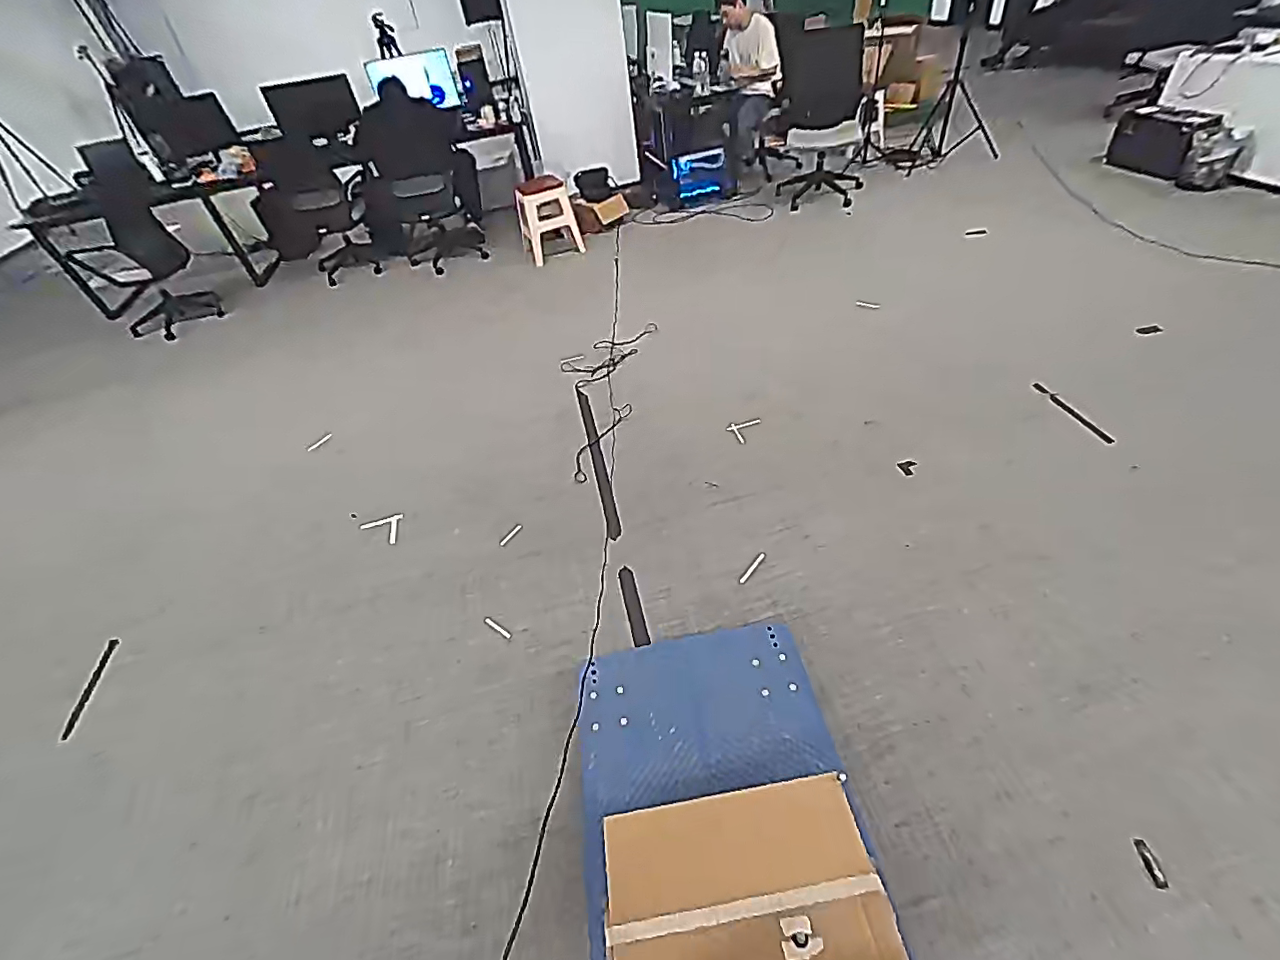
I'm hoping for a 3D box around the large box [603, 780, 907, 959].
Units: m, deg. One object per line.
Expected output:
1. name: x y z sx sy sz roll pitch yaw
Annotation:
1. large box: 0.174 0.749 0.881 0.408 0.320 0.320 -11 42 -1
